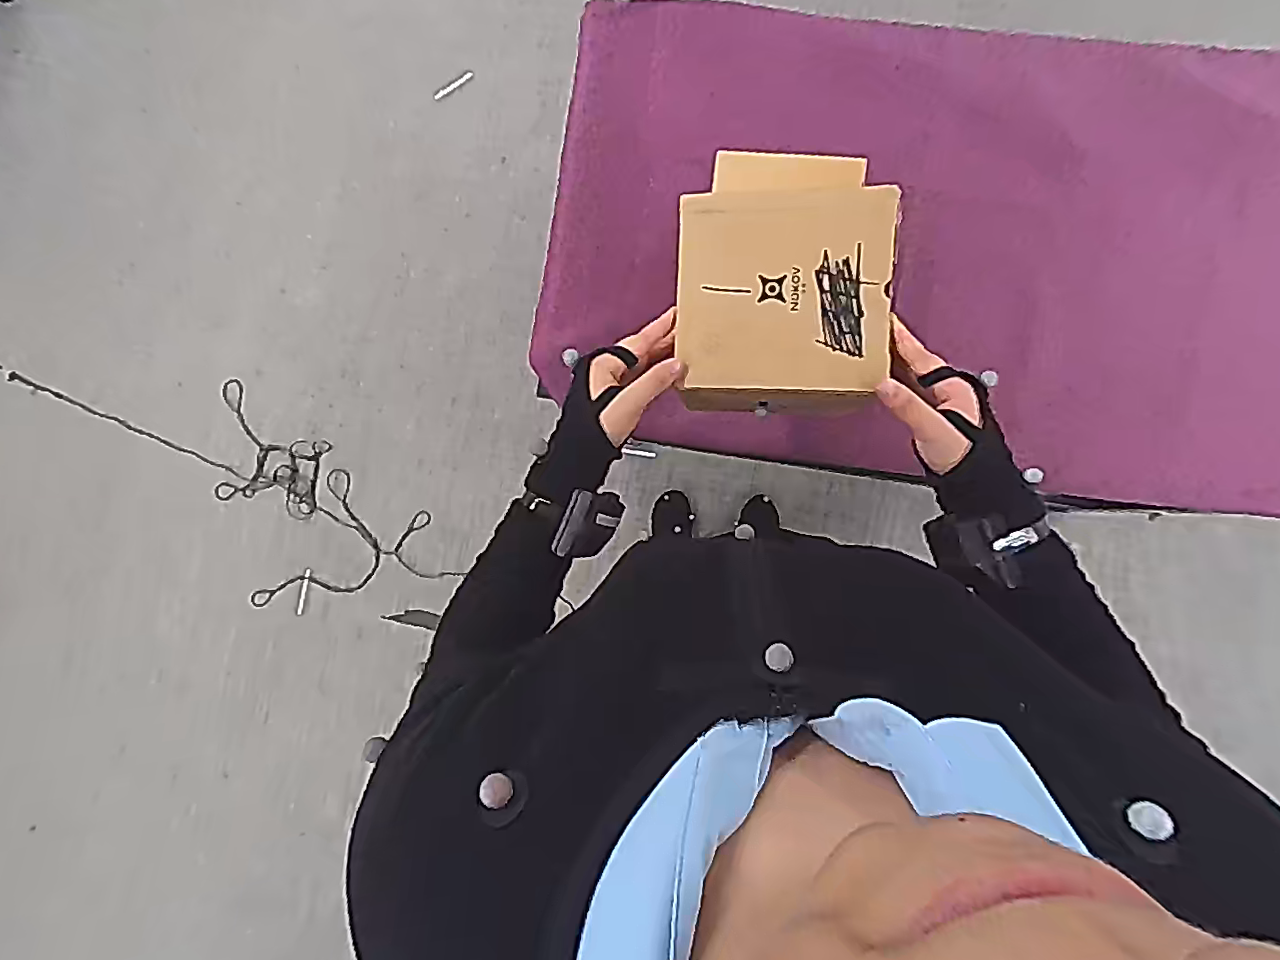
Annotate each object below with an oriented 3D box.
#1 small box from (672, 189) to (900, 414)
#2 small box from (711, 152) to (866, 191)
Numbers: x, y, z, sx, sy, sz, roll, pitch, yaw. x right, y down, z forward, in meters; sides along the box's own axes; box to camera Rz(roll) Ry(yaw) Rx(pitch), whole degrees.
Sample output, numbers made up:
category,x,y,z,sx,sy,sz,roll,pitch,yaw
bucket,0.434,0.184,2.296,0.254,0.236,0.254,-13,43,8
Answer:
category,x,y,z,sx,sy,sz,roll,pitch,yaw
small box,0.130,-0.157,0.524,0.179,0.176,0.168,3,90,9
small box,0.177,-0.299,0.714,0.179,0.176,0.168,6,88,6
